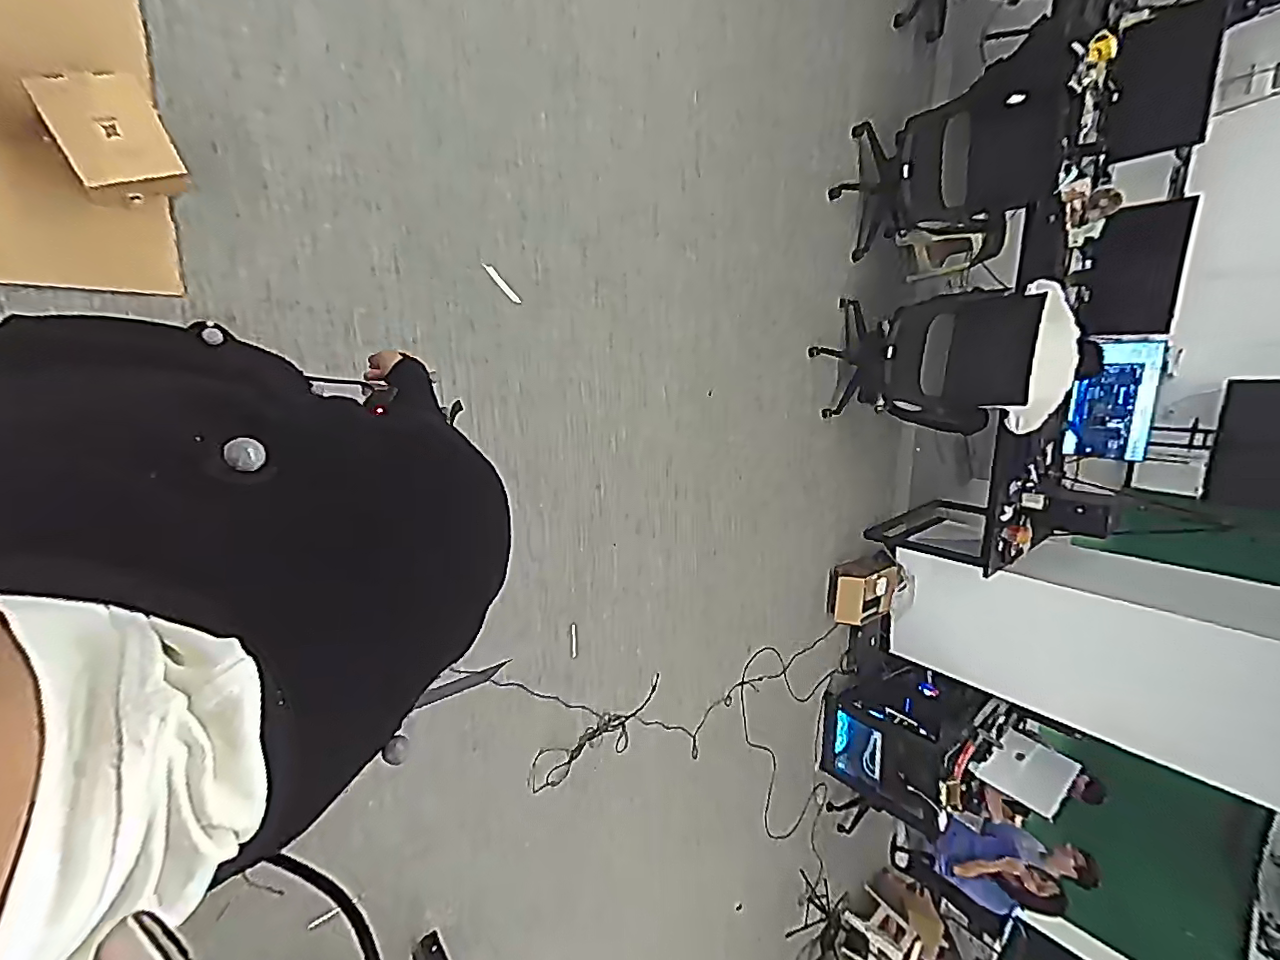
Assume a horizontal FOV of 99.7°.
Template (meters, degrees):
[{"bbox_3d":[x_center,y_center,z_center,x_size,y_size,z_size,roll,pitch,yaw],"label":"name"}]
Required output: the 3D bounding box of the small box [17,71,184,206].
[{"bbox_3d":[-1.042,-0.664,1.062,0.168,0.176,0.179,-32,117,-31],"label":"small box"}]
